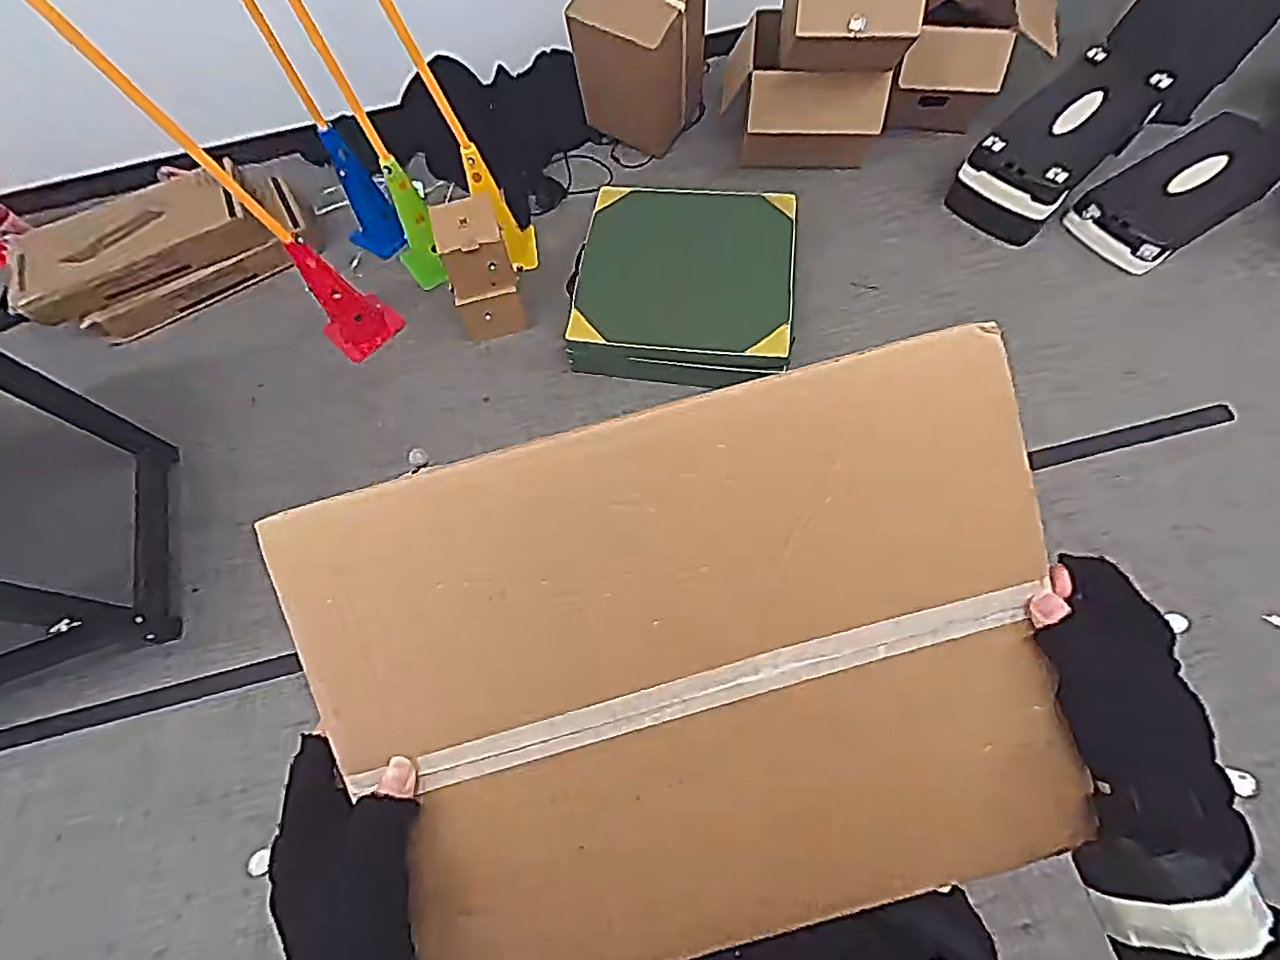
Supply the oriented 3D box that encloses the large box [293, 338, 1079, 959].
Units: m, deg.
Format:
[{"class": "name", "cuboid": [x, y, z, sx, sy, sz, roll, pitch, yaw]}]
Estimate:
[{"class": "large box", "cuboid": [0.030, 0.110, 0.461, 0.408, 0.320, 0.320, -16, 96, 0]}]
